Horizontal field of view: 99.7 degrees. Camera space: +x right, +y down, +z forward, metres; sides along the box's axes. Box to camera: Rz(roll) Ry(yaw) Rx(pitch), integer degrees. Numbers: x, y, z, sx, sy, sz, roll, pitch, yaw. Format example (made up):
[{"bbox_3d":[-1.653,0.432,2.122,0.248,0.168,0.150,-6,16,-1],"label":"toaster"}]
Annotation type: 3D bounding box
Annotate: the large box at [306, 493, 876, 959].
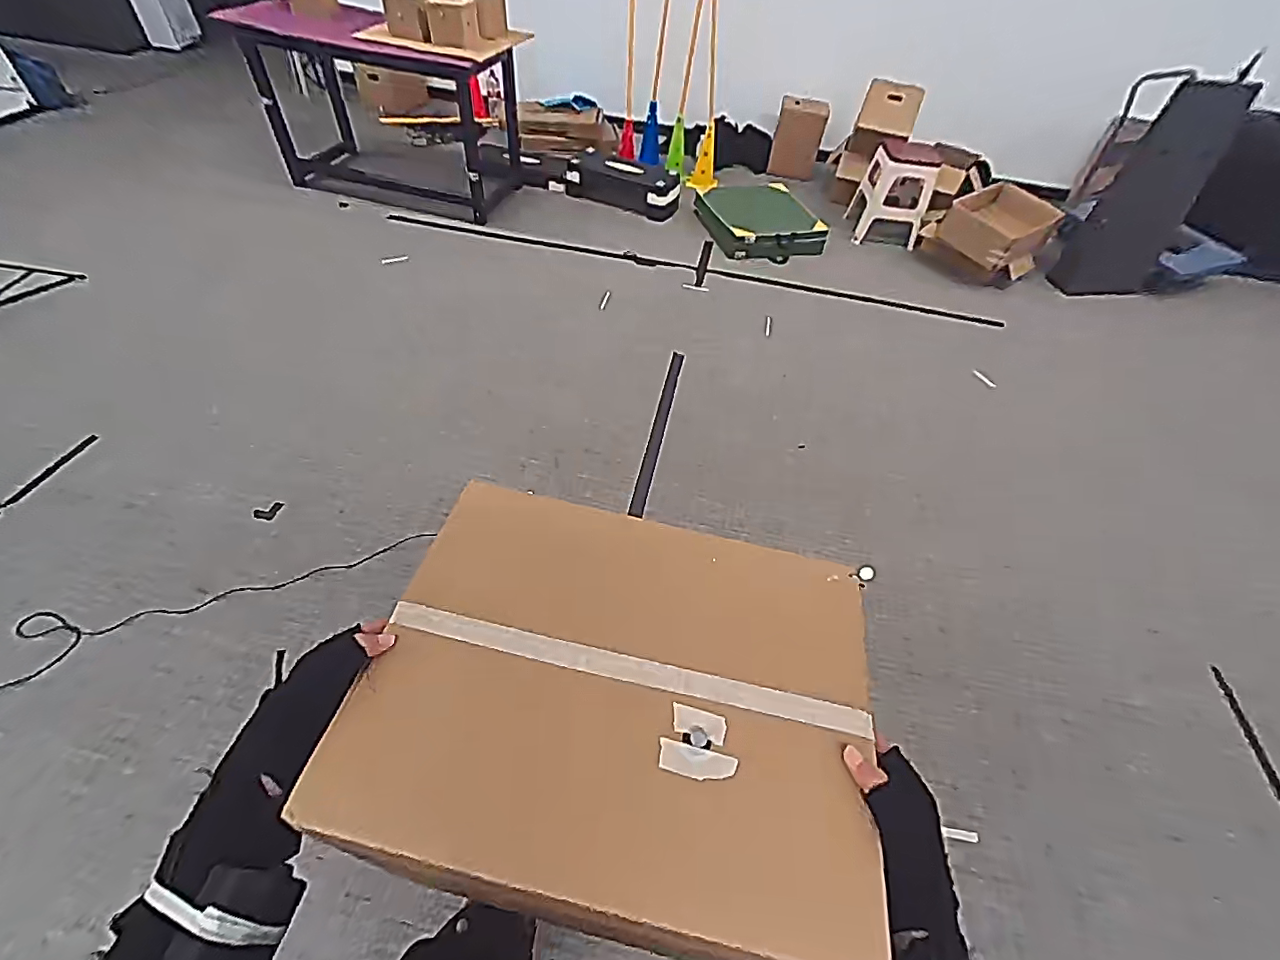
[{"bbox_3d":[-0.027,0.260,0.569,0.408,0.320,0.320,13,49,3],"label":"large box"}]
